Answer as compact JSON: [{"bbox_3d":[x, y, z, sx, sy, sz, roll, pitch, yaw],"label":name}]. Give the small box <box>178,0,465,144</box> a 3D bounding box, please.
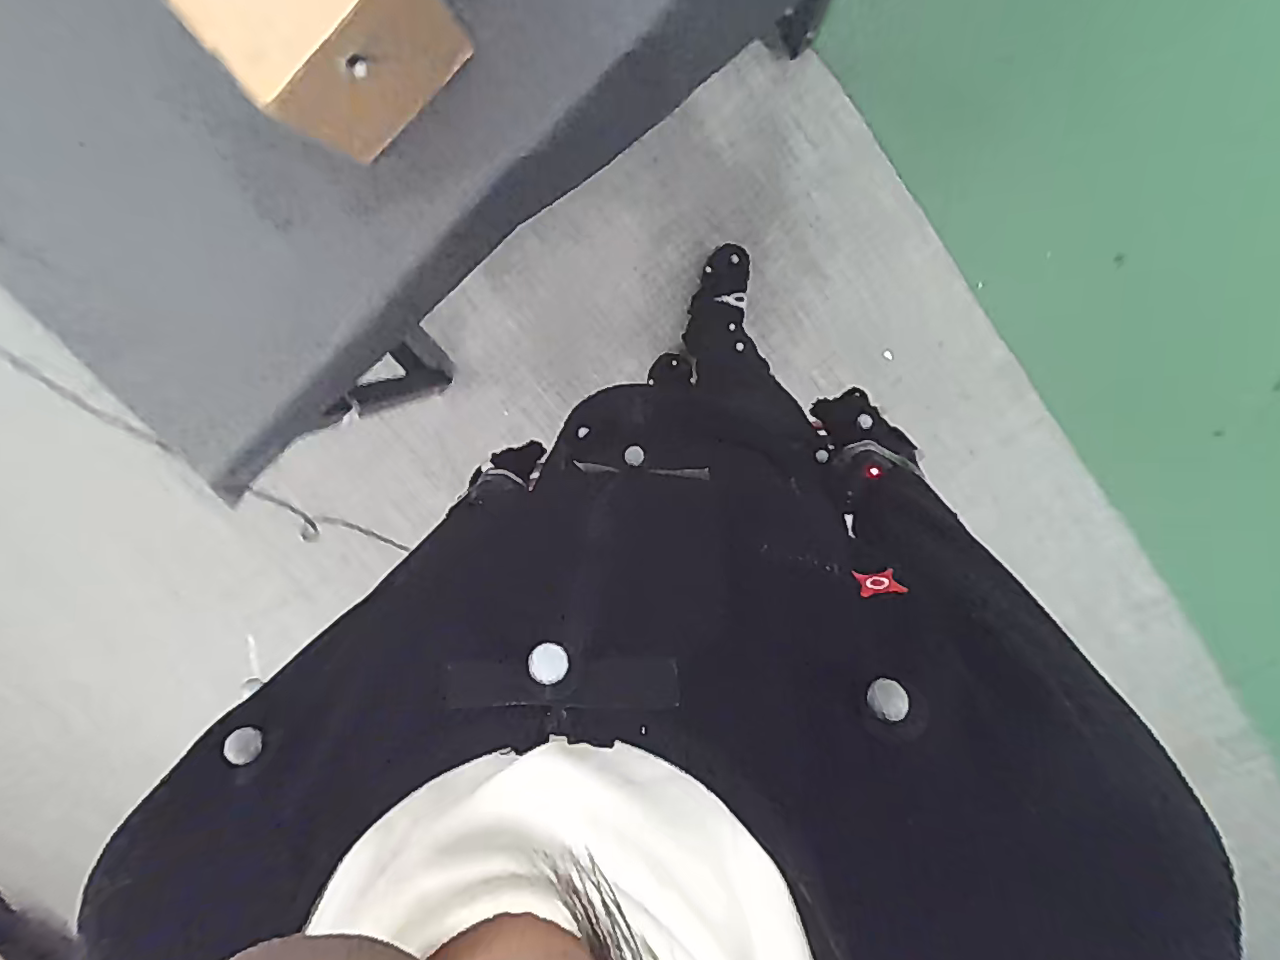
[{"bbox_3d":[-0.297,-0.456,0.498,0.179,0.176,0.168,-37,101,14],"label":"small box"}]
